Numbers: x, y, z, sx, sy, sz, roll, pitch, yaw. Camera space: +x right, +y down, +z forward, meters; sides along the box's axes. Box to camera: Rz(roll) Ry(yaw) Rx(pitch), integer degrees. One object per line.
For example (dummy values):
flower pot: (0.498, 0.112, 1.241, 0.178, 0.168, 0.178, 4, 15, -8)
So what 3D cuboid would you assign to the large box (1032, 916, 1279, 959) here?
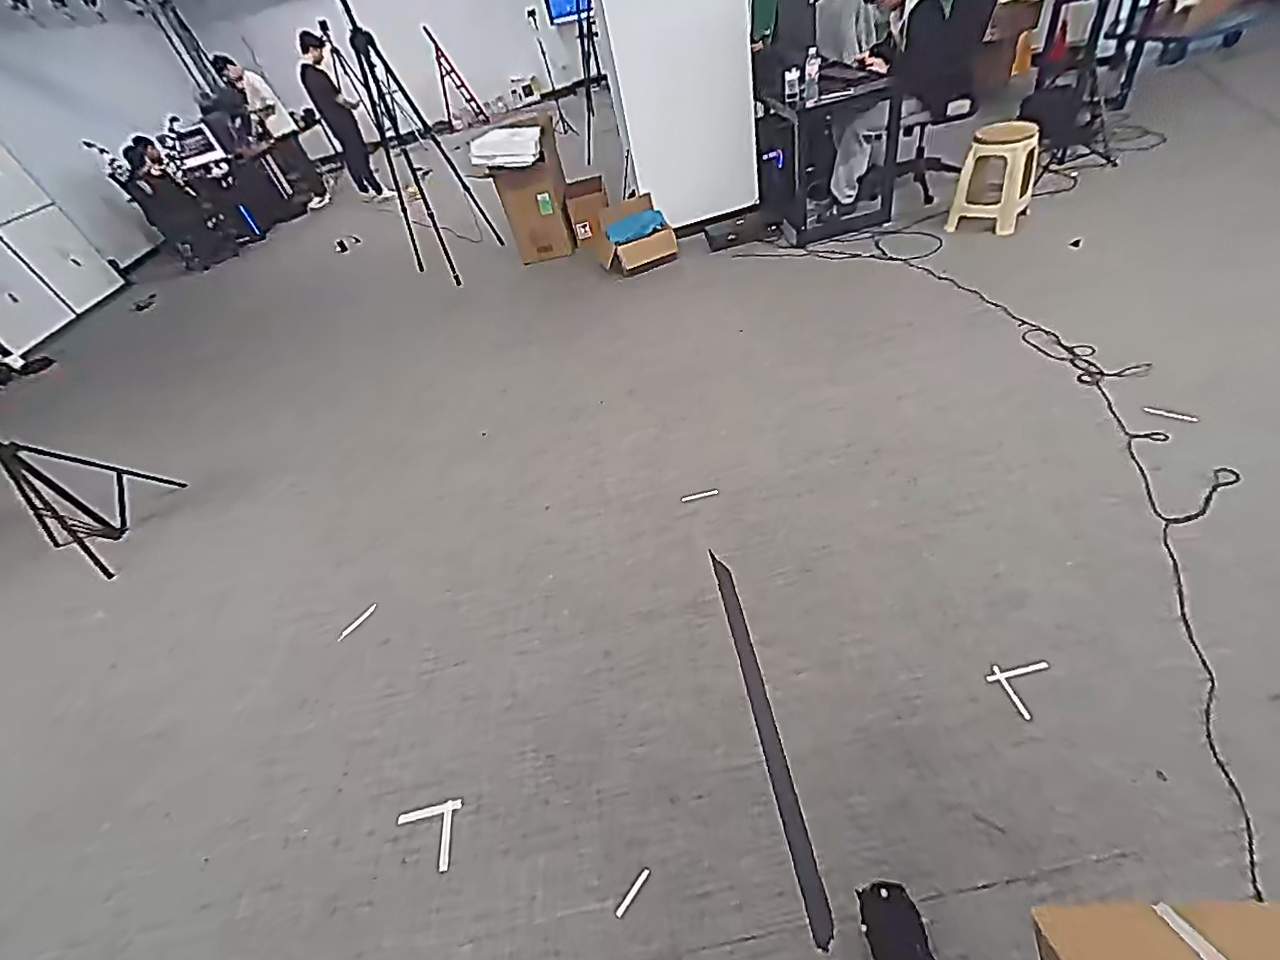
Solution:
large box: (0.656, 0.700, 0.493, 0.320, 0.408, 0.320, -12, 82, 12)
